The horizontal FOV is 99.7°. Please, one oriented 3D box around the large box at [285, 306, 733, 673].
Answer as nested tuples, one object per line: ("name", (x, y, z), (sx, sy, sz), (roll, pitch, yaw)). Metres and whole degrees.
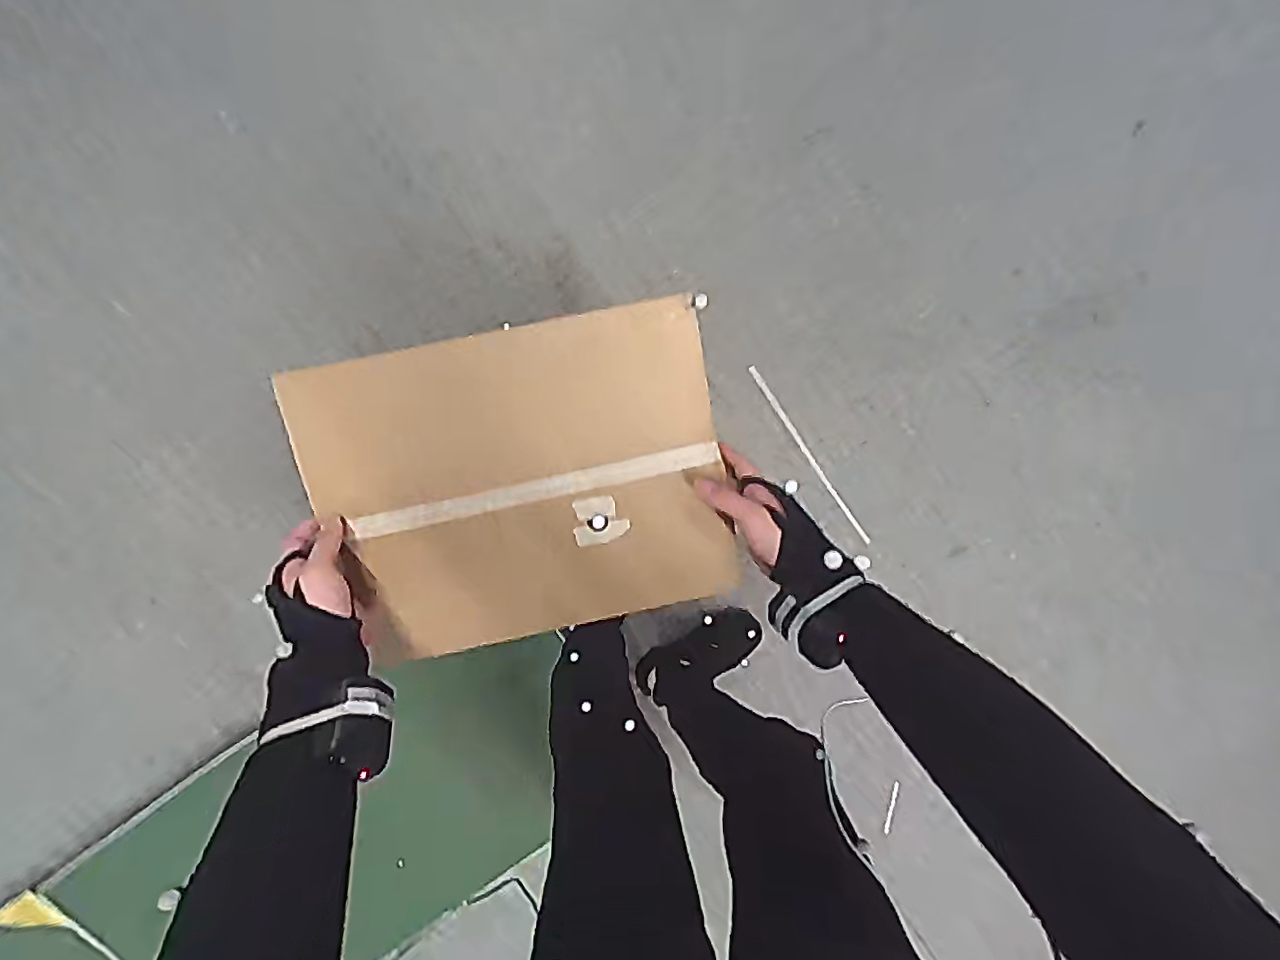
("large box", (-0.135, -0.010, 0.705), (0.408, 0.320, 0.320), (-13, 103, -3))
